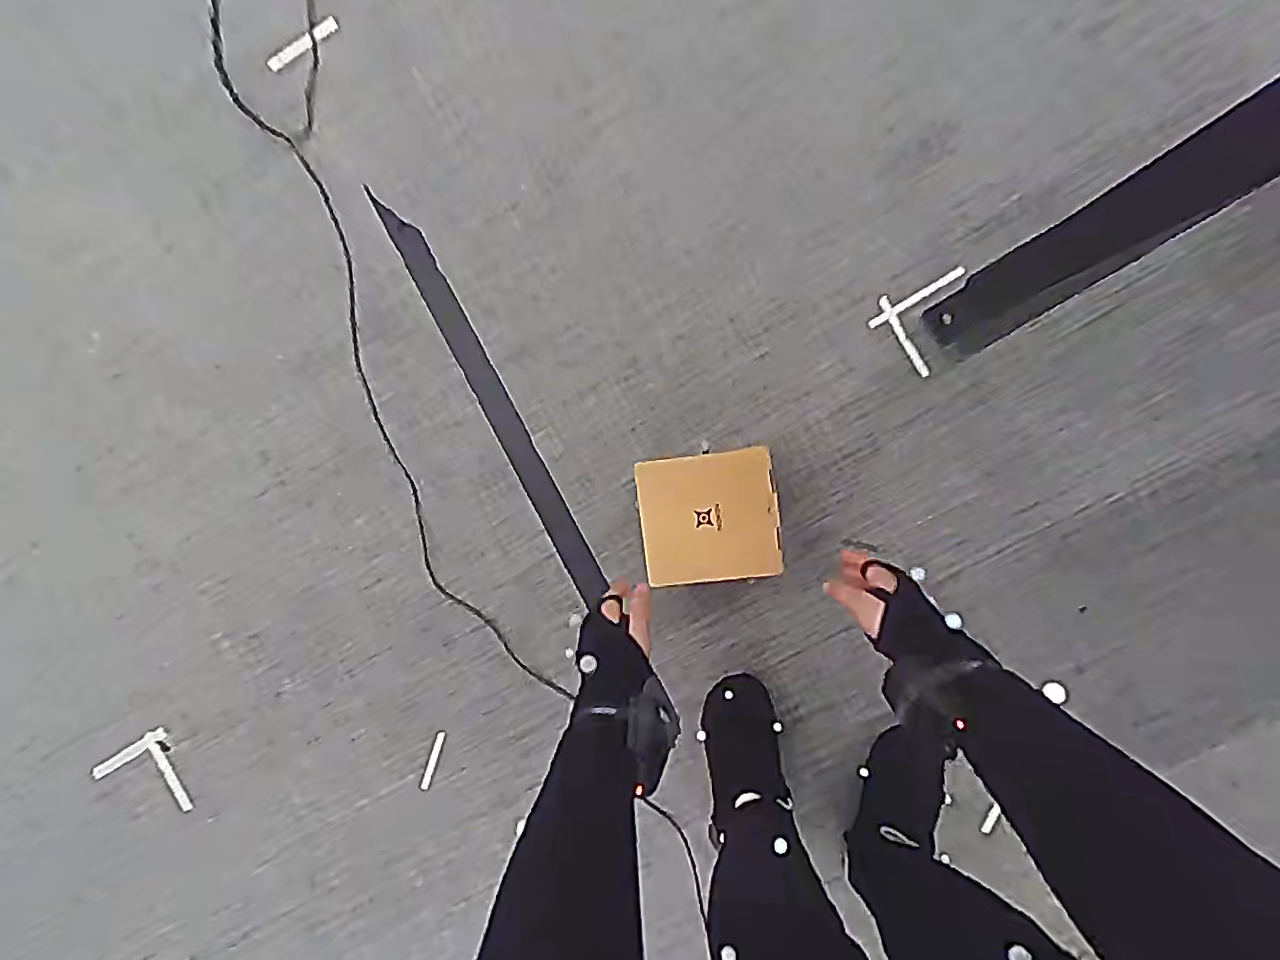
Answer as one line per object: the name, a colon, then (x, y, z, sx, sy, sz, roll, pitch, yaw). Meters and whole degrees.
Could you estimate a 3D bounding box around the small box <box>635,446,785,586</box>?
small box: (0.098, 0.046, 0.769, 0.179, 0.176, 0.168, -7, 91, 6)
